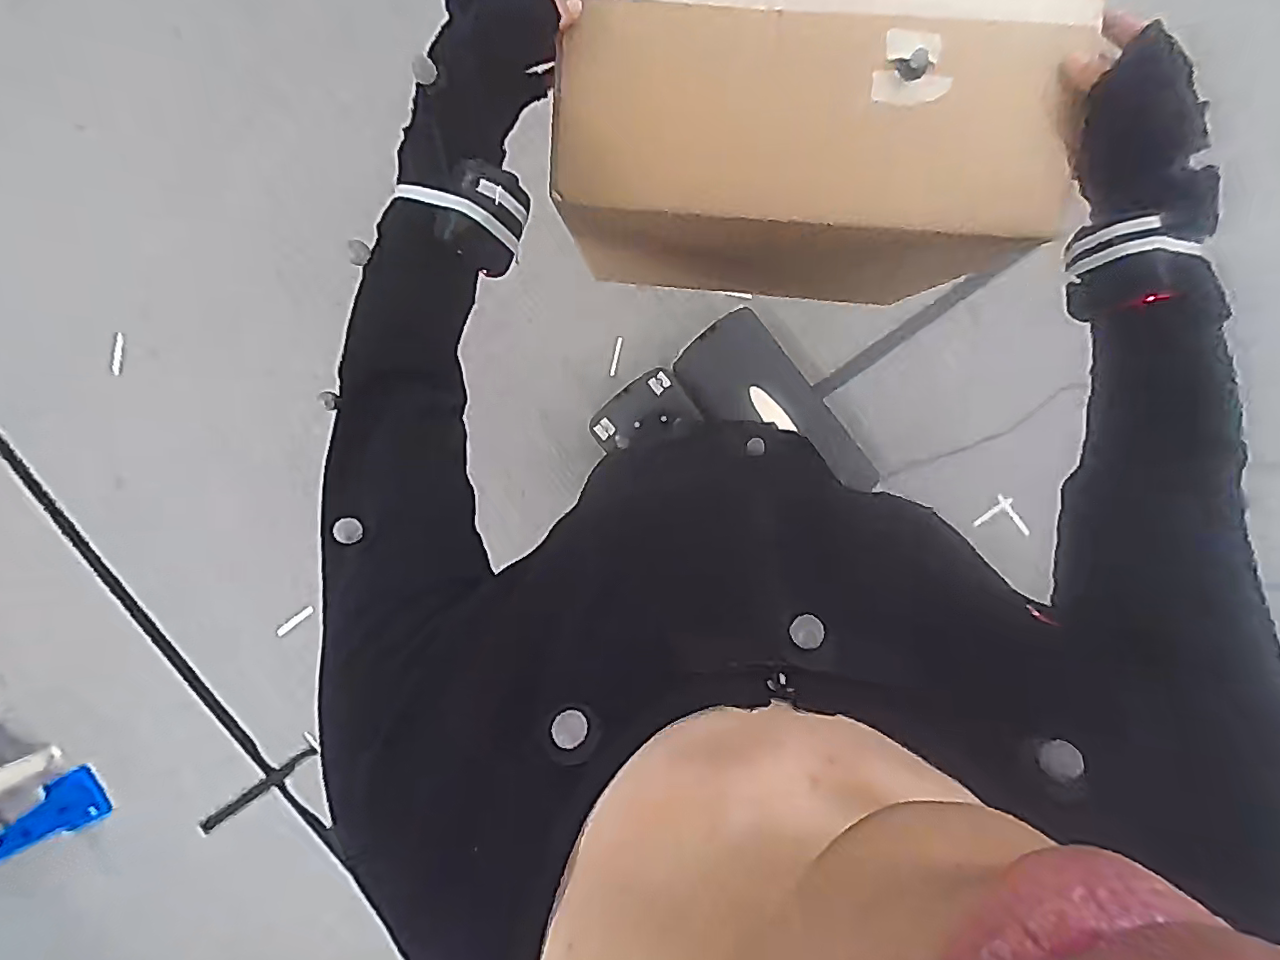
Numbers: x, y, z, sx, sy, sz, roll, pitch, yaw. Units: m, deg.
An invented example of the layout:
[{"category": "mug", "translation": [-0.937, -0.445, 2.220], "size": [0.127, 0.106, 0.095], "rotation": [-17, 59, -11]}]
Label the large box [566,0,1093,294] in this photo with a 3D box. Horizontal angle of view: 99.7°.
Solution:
[{"category": "large box", "translation": [0.147, -0.391, 0.563], "size": [0.408, 0.320, 0.320], "rotation": [5, 100, 0]}]
